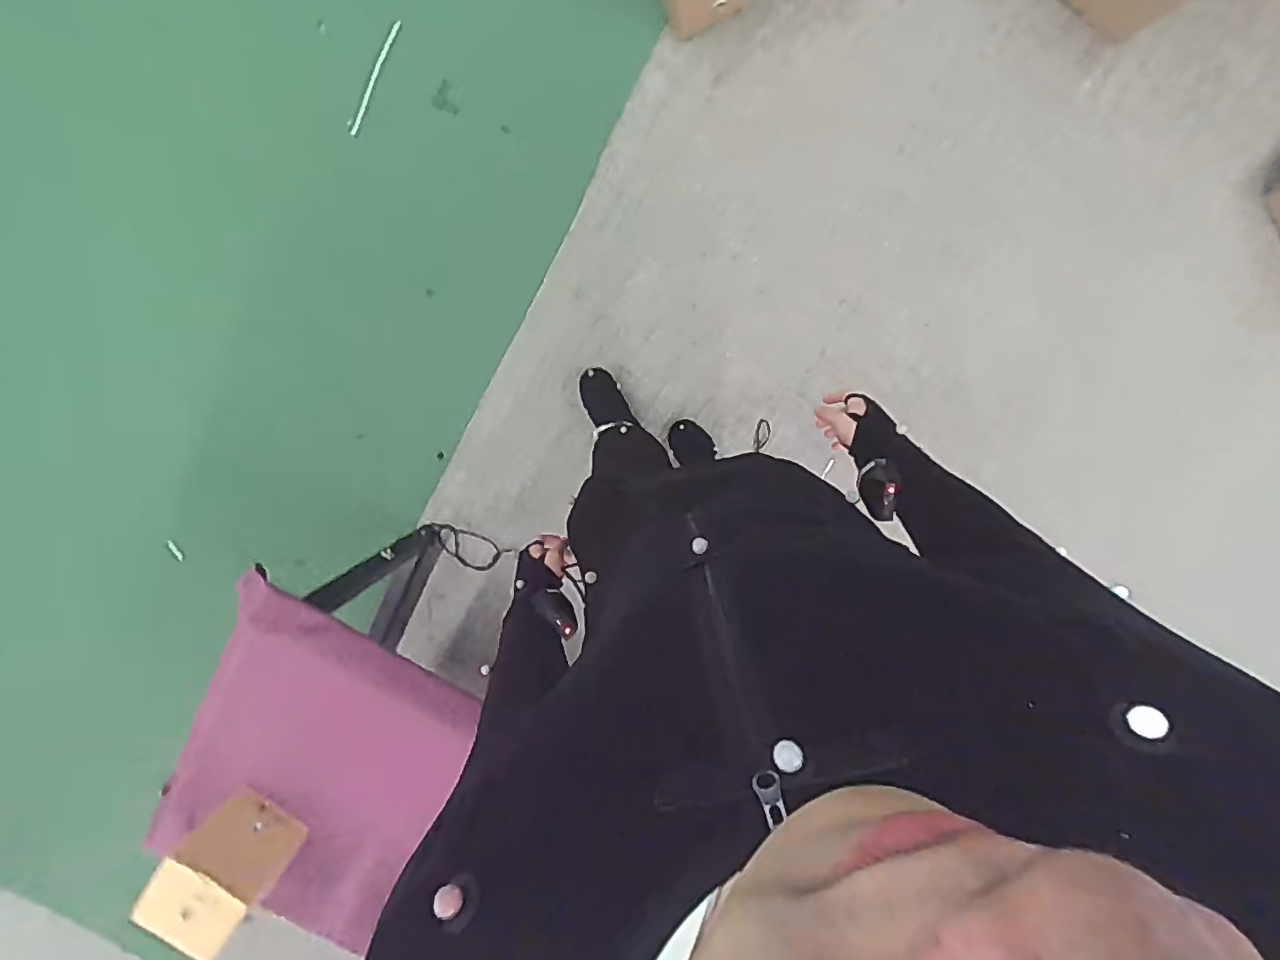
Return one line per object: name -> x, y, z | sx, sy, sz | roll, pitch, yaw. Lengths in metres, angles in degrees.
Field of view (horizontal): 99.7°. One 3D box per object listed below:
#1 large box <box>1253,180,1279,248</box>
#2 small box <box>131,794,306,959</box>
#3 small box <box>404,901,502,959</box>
large box -> 1.790, -0.621, 1.231 | 0.320, 0.320, 0.408 | -36, 96, 10
small box -> -0.777, 0.749, 1.018 | 0.168, 0.176, 0.179 | 35, 101, -4
small box -> -0.386, 0.974, 1.036 | 0.168, 0.176, 0.179 | 25, 101, -1
